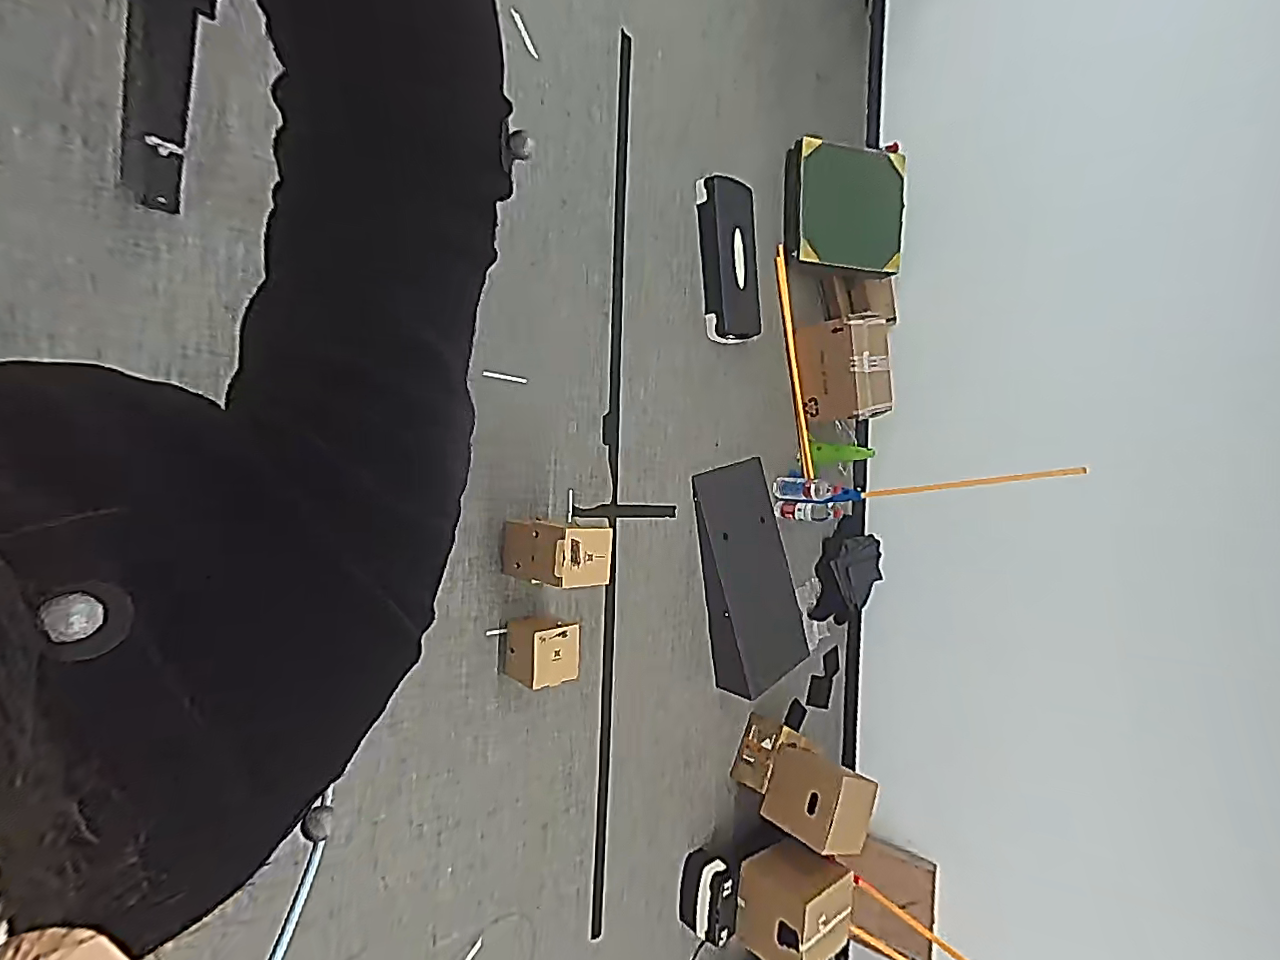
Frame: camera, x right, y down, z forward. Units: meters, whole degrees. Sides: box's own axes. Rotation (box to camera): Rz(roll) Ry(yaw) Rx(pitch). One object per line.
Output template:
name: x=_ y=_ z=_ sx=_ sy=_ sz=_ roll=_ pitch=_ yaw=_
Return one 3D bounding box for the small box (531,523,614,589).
small box: x=-0.200 y=0.216 z=1.569 sx=0.179 sy=0.176 sz=0.168 roll=4 pitch=89 yaw=-44

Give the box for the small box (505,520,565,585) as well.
small box: x=-0.309 y=0.221 z=1.691 sx=0.168 sy=0.176 sz=0.179 roll=1 pitch=91 yaw=-43

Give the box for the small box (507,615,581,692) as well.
small box: x=-0.306 y=0.540 z=1.707 sx=0.168 sy=0.176 sz=0.179 roll=1 pitch=91 yaw=-43
